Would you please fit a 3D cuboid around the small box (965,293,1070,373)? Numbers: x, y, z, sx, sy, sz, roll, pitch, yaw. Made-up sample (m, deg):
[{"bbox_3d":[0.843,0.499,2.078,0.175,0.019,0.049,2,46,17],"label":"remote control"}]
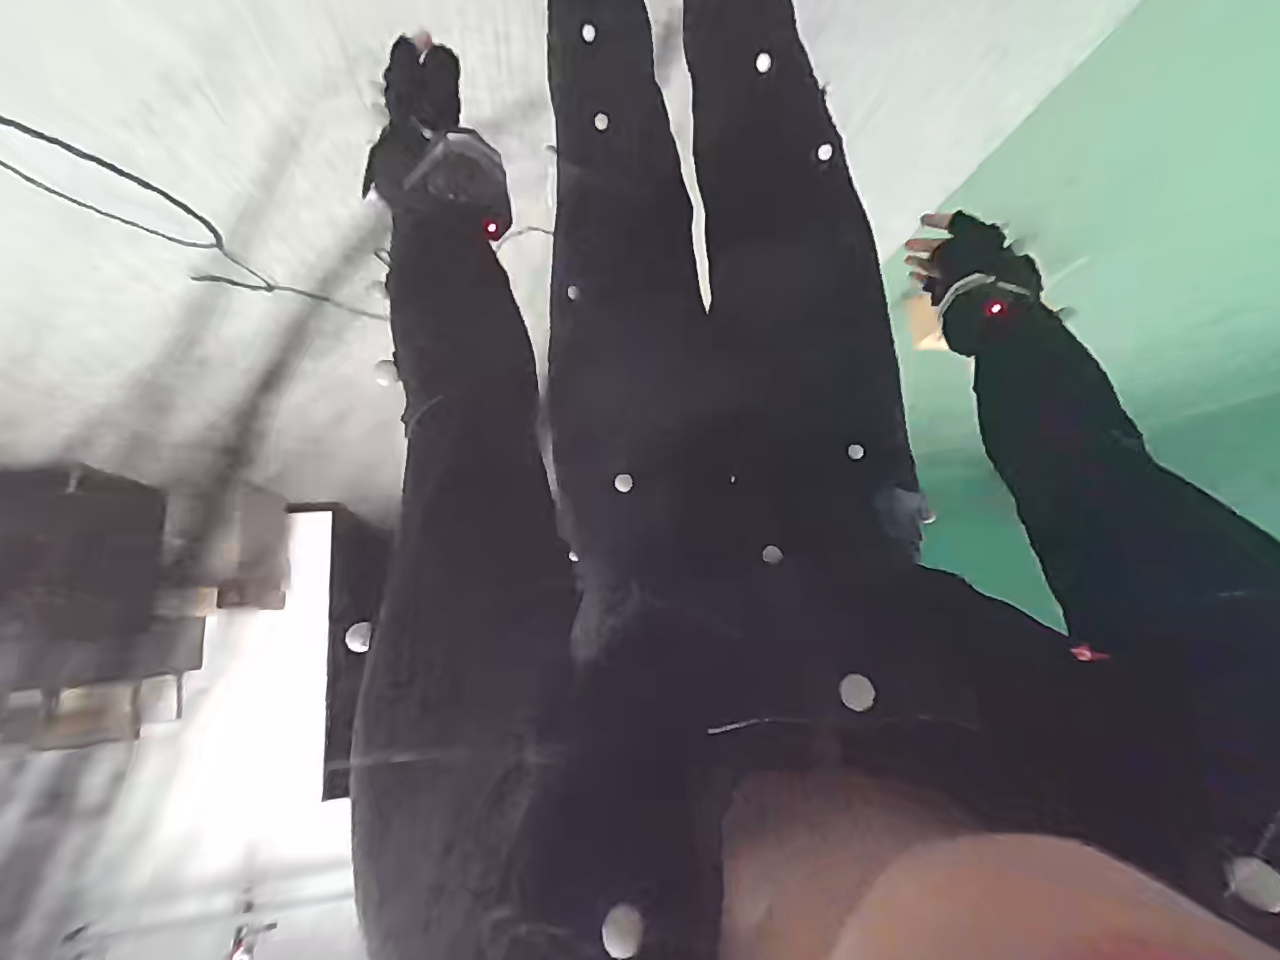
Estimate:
[{"bbox_3d":[1.086,-0.425,1.571,0.168,0.176,0.179,-1,167,-15],"label":"small box"}]
